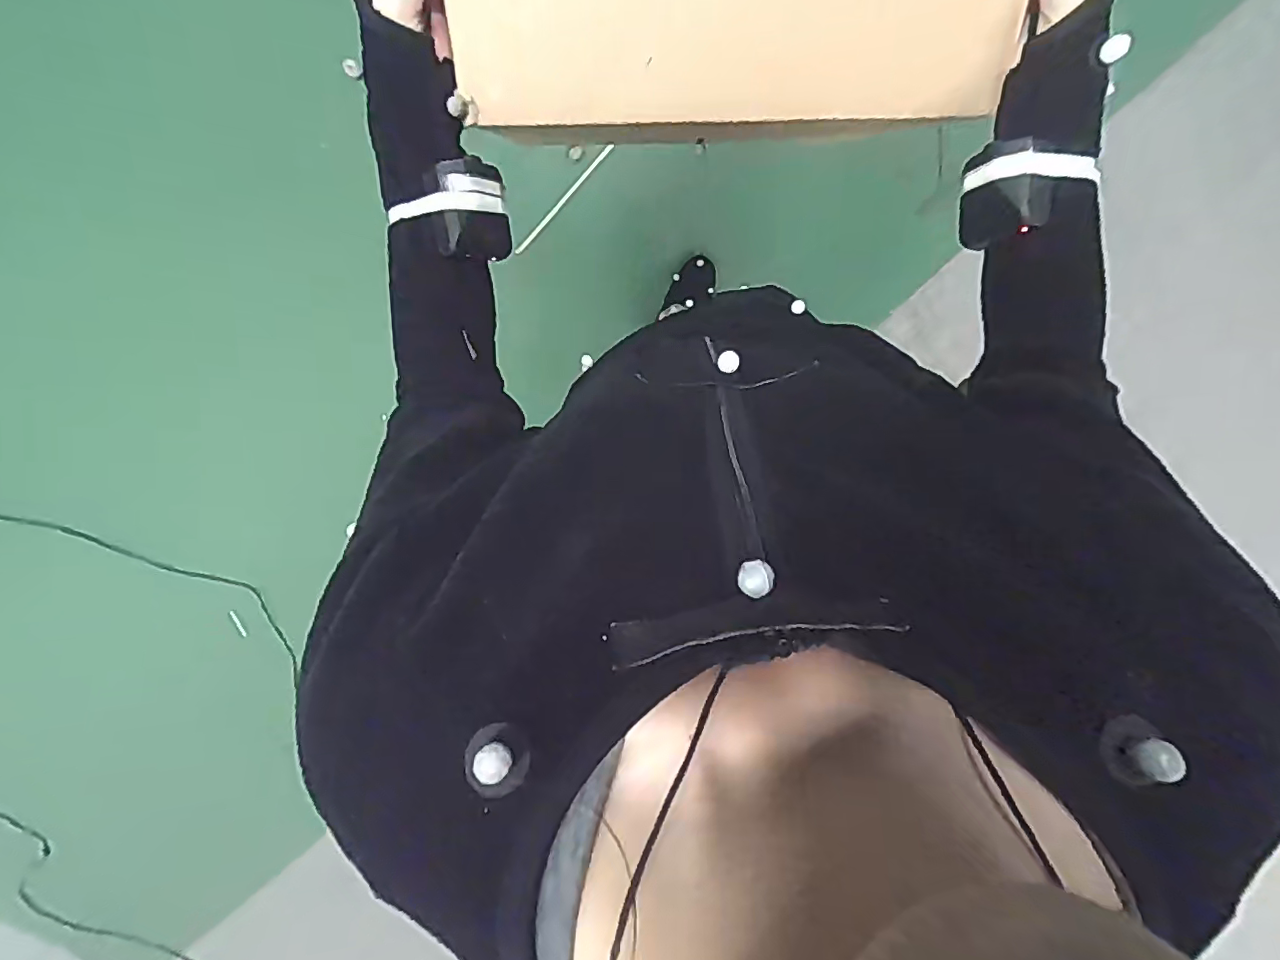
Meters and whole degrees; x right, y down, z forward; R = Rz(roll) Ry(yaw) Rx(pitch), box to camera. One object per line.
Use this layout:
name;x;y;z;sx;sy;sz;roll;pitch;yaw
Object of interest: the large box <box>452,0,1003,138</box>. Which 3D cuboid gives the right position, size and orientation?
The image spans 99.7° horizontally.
large box;0.058;-0.487;0.469;0.408;0.320;0.320;-3;120;-3
